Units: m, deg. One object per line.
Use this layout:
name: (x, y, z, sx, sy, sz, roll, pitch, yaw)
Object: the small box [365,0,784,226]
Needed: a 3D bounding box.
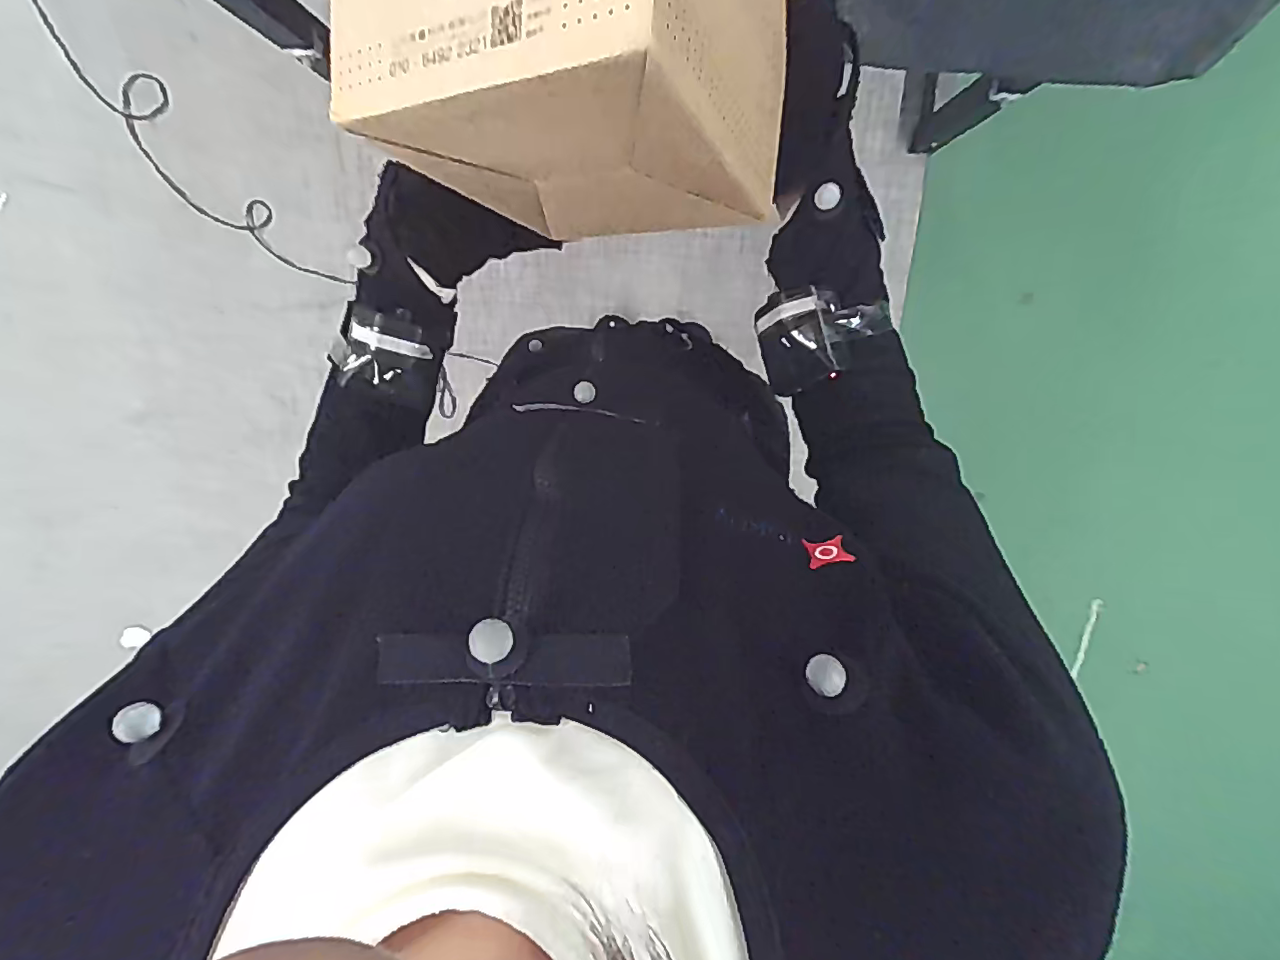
small box: (-0.025, -0.252, 0.291, 0.168, 0.179, 0.176, 8, 99, 26)
